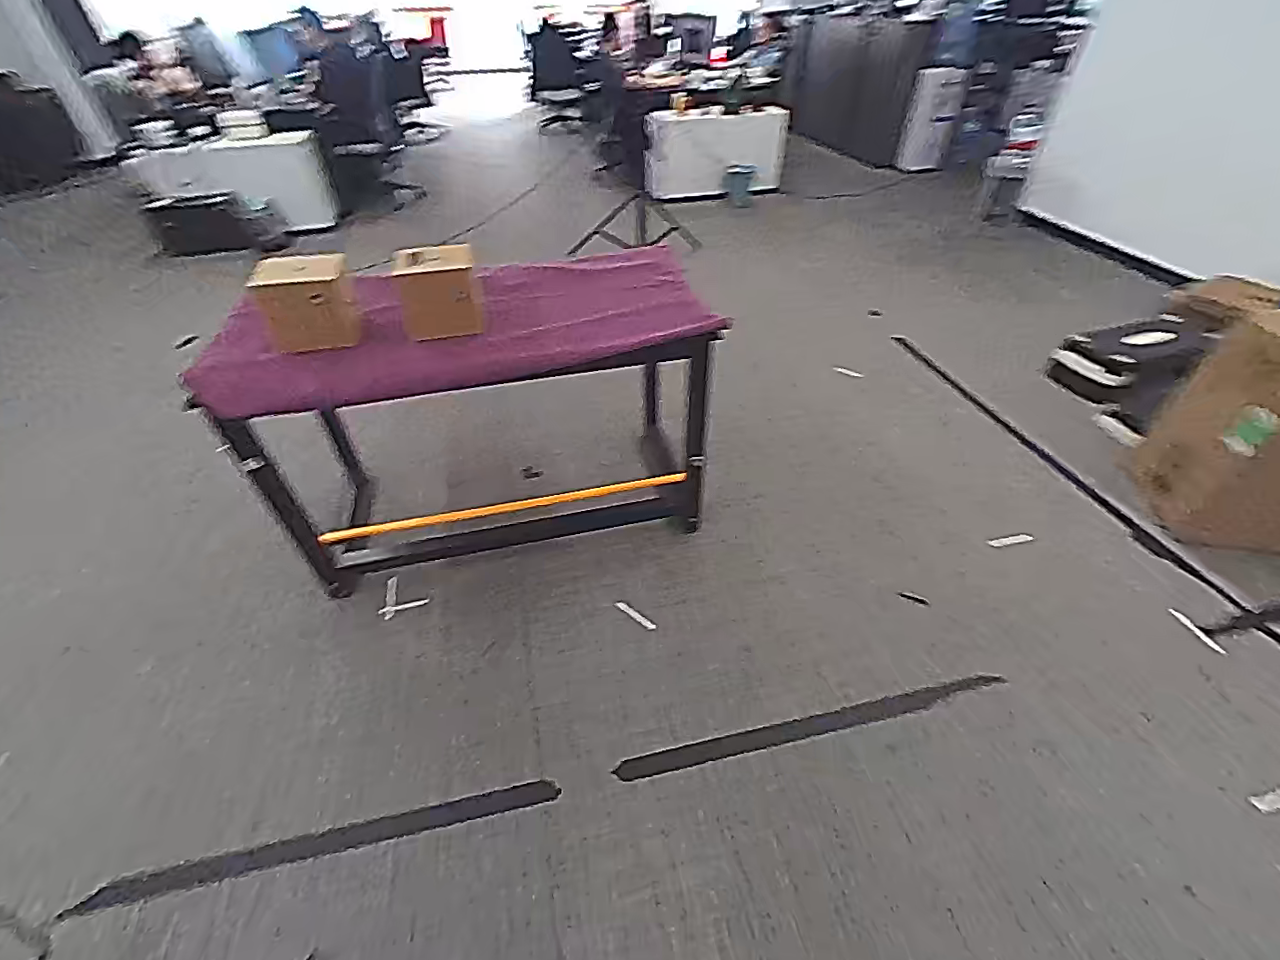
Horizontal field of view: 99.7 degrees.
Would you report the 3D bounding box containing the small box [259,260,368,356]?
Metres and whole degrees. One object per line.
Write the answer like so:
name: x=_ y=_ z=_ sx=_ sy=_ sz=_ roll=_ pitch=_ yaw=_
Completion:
small box: x=-0.782 y=-0.420 z=1.319 sx=0.179 sy=0.176 sz=0.168 roll=-10 pitch=42 yaw=-13
